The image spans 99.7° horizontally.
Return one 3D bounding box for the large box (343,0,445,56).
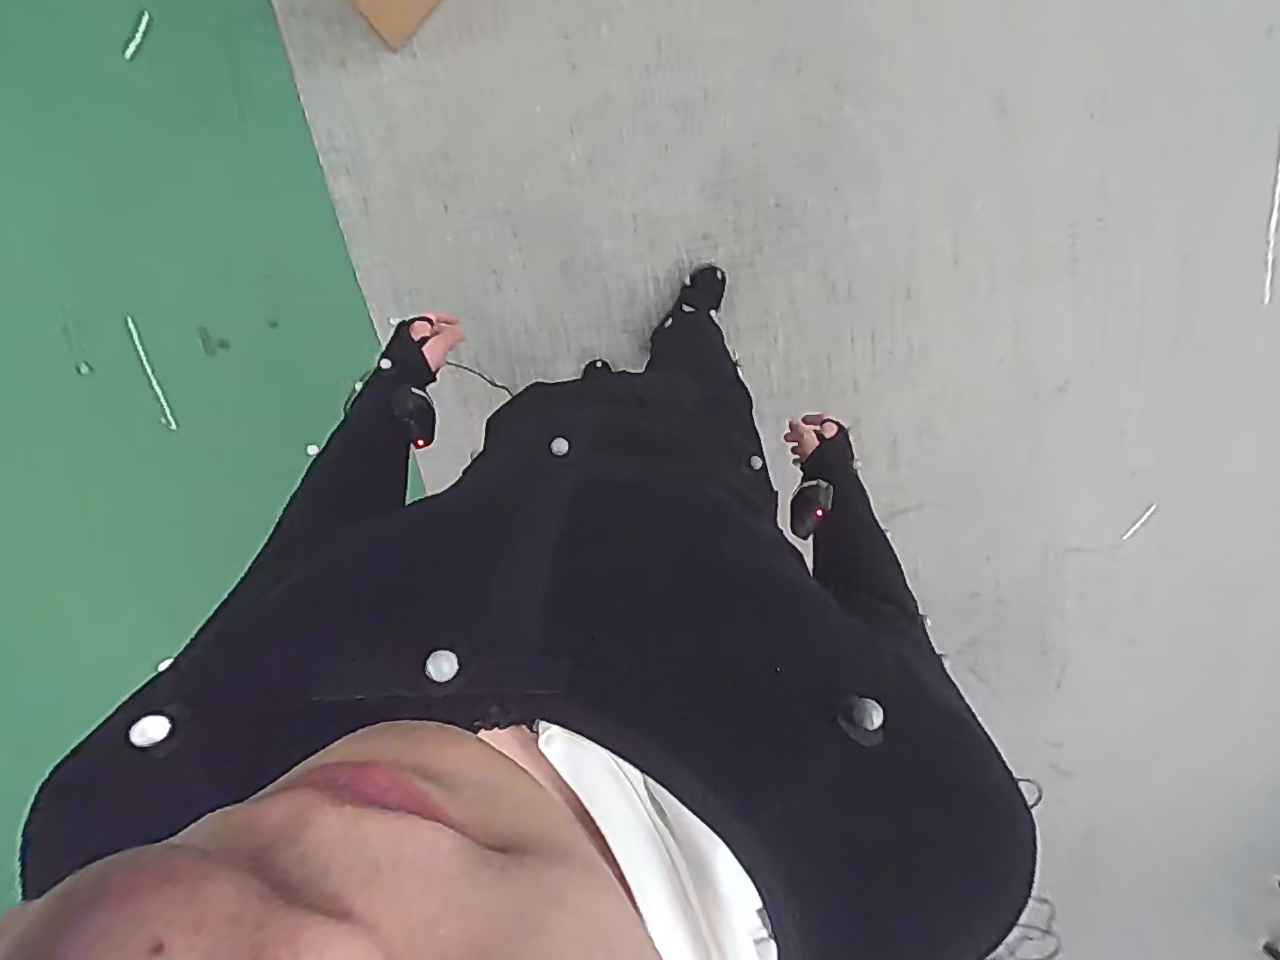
[{"bbox_3d":[-0.557,-1.235,1.128,0.408,0.320,0.320,-43,102,11],"label":"large box"}]
